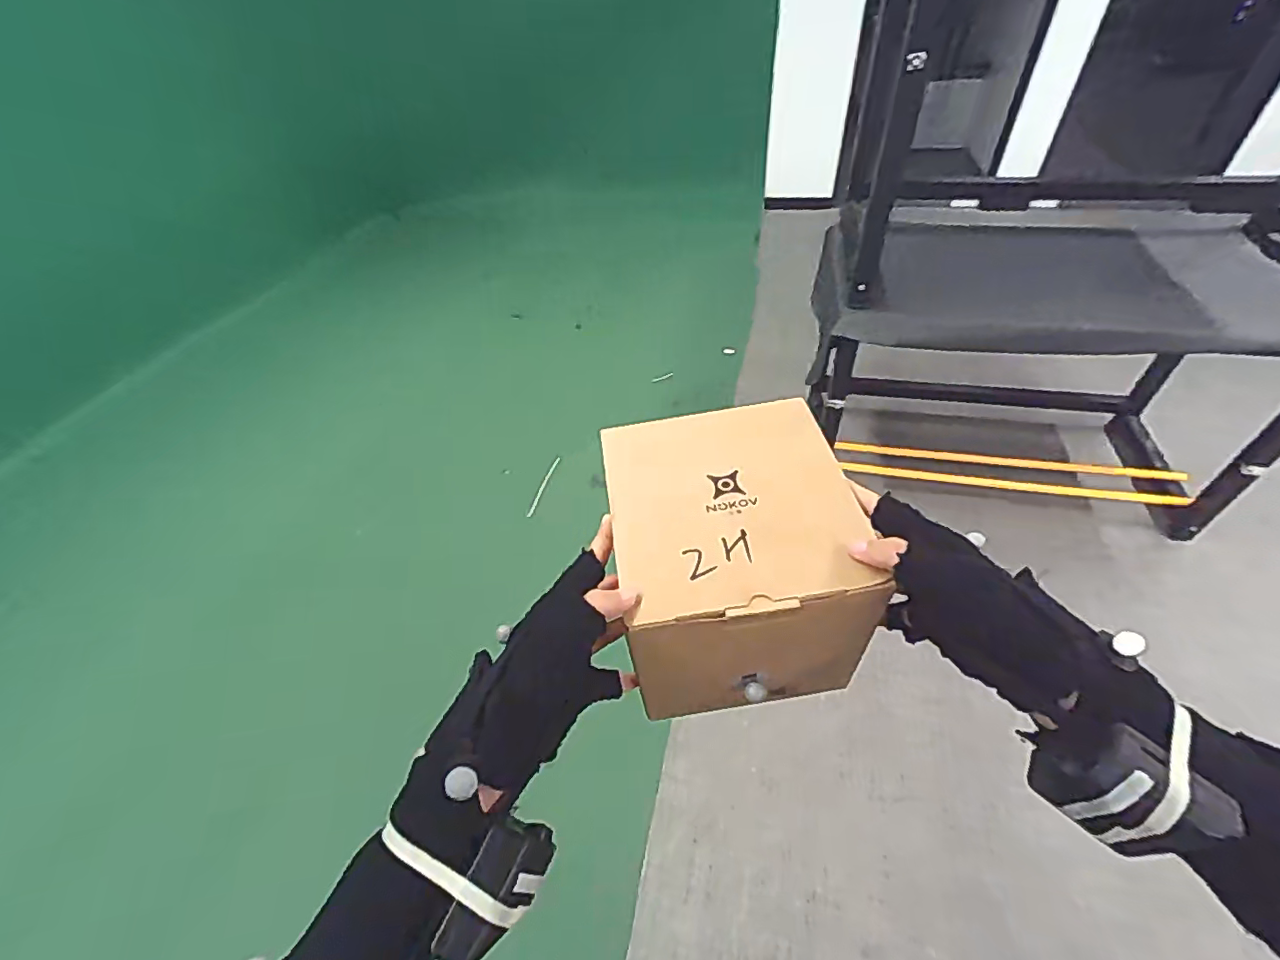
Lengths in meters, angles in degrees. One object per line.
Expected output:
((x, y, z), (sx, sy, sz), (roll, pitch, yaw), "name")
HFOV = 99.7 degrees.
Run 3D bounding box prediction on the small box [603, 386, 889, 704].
((0.066, 0.053, 0.433), (0.168, 0.176, 0.179), (-10, 48, 0), "small box")
